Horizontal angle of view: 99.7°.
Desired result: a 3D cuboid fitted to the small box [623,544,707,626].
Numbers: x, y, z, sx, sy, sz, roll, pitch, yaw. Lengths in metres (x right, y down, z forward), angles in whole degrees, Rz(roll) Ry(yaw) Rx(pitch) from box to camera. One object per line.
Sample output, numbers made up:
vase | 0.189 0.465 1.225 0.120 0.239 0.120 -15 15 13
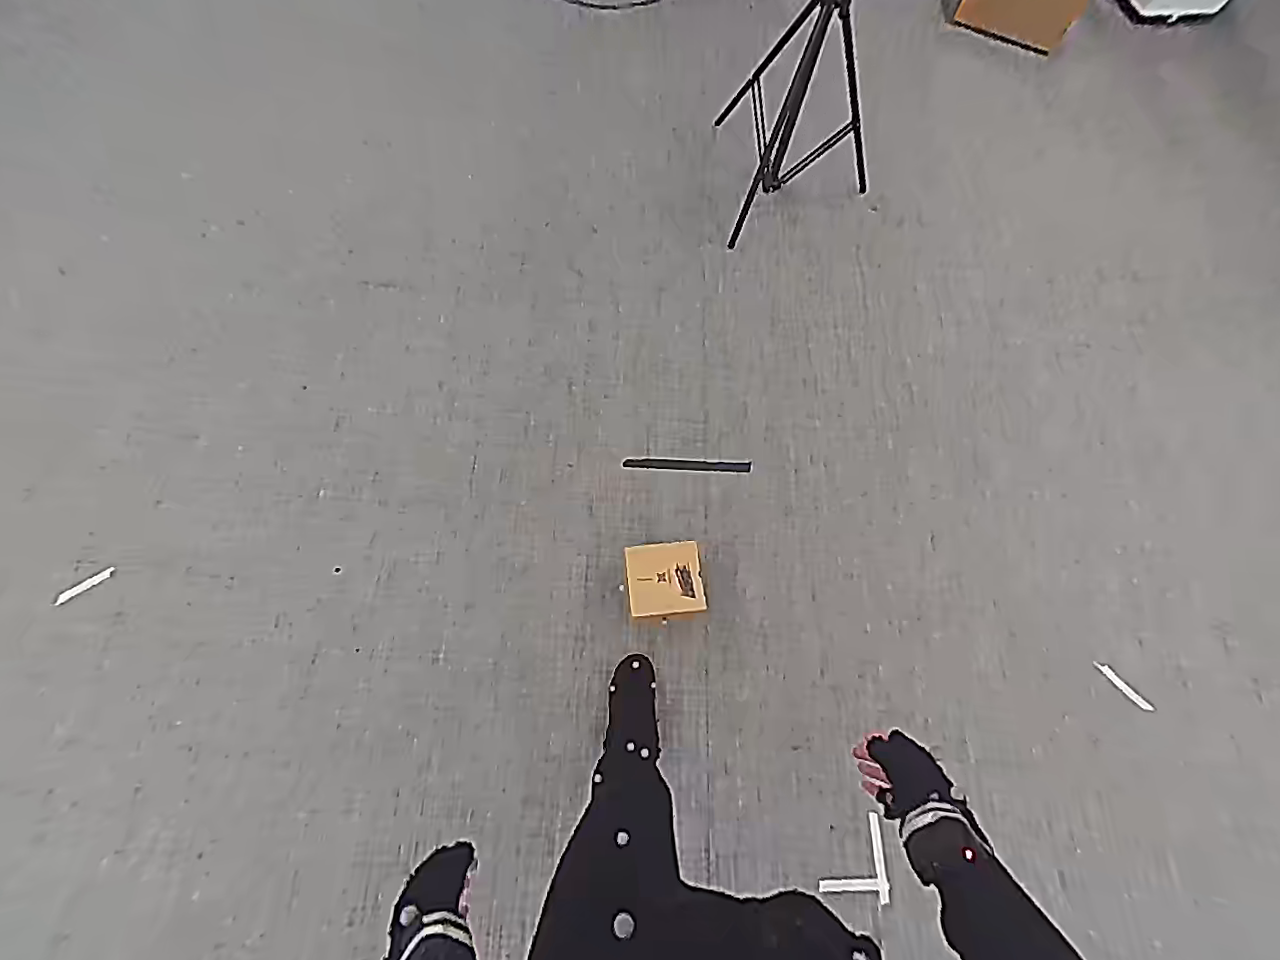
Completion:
small box | 0.054 0.259 1.320 0.179 0.176 0.168 -4 69 -4
